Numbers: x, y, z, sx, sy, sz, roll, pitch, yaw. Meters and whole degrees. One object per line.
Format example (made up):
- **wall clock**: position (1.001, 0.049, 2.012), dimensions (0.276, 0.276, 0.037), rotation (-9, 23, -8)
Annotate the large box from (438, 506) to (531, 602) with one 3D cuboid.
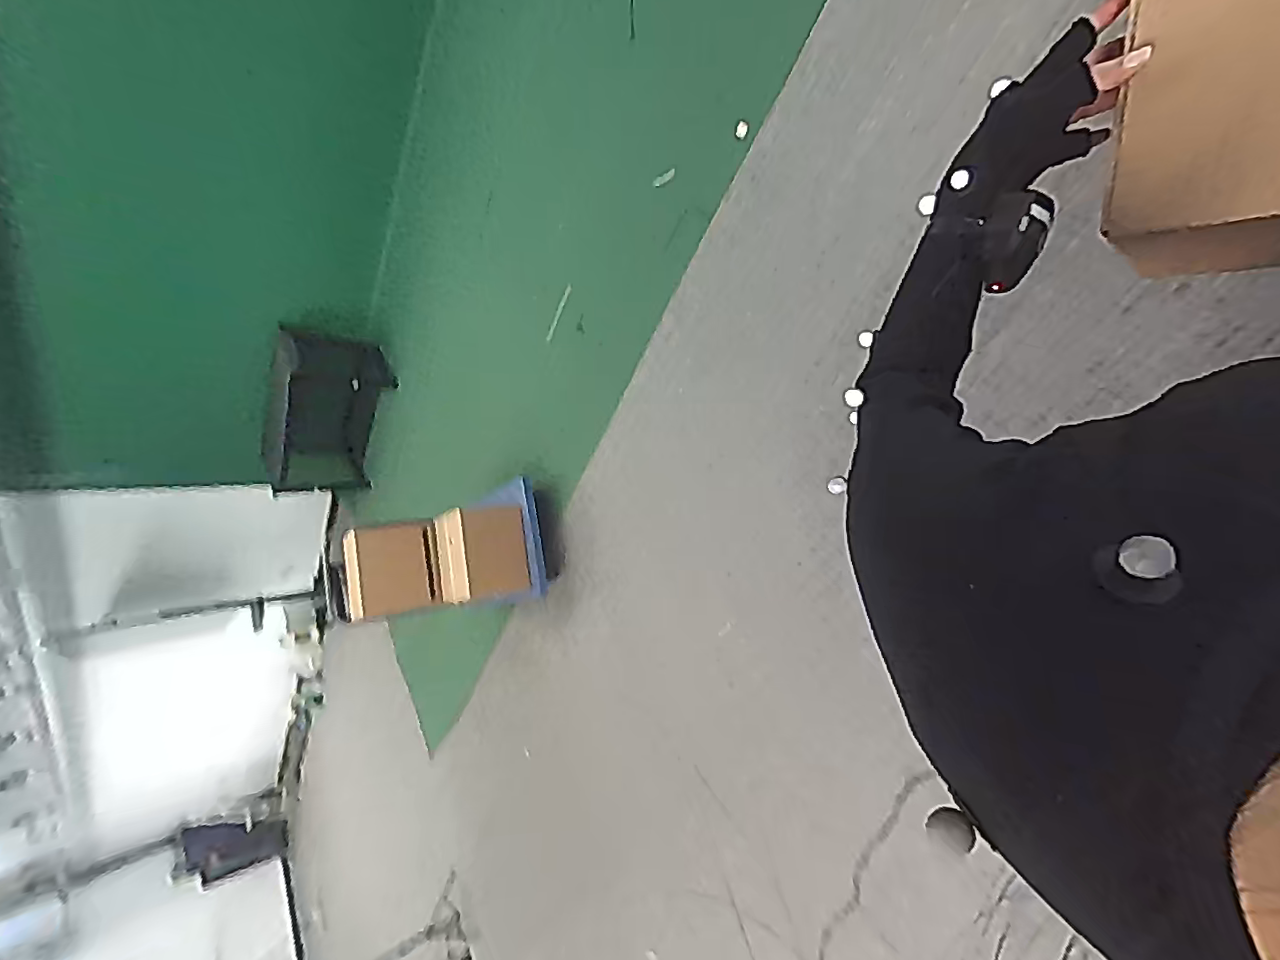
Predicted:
- **large box**: position (-0.745, 0.353, 2.588), dimensions (0.320, 0.320, 0.408), rotation (-18, 77, 48)
